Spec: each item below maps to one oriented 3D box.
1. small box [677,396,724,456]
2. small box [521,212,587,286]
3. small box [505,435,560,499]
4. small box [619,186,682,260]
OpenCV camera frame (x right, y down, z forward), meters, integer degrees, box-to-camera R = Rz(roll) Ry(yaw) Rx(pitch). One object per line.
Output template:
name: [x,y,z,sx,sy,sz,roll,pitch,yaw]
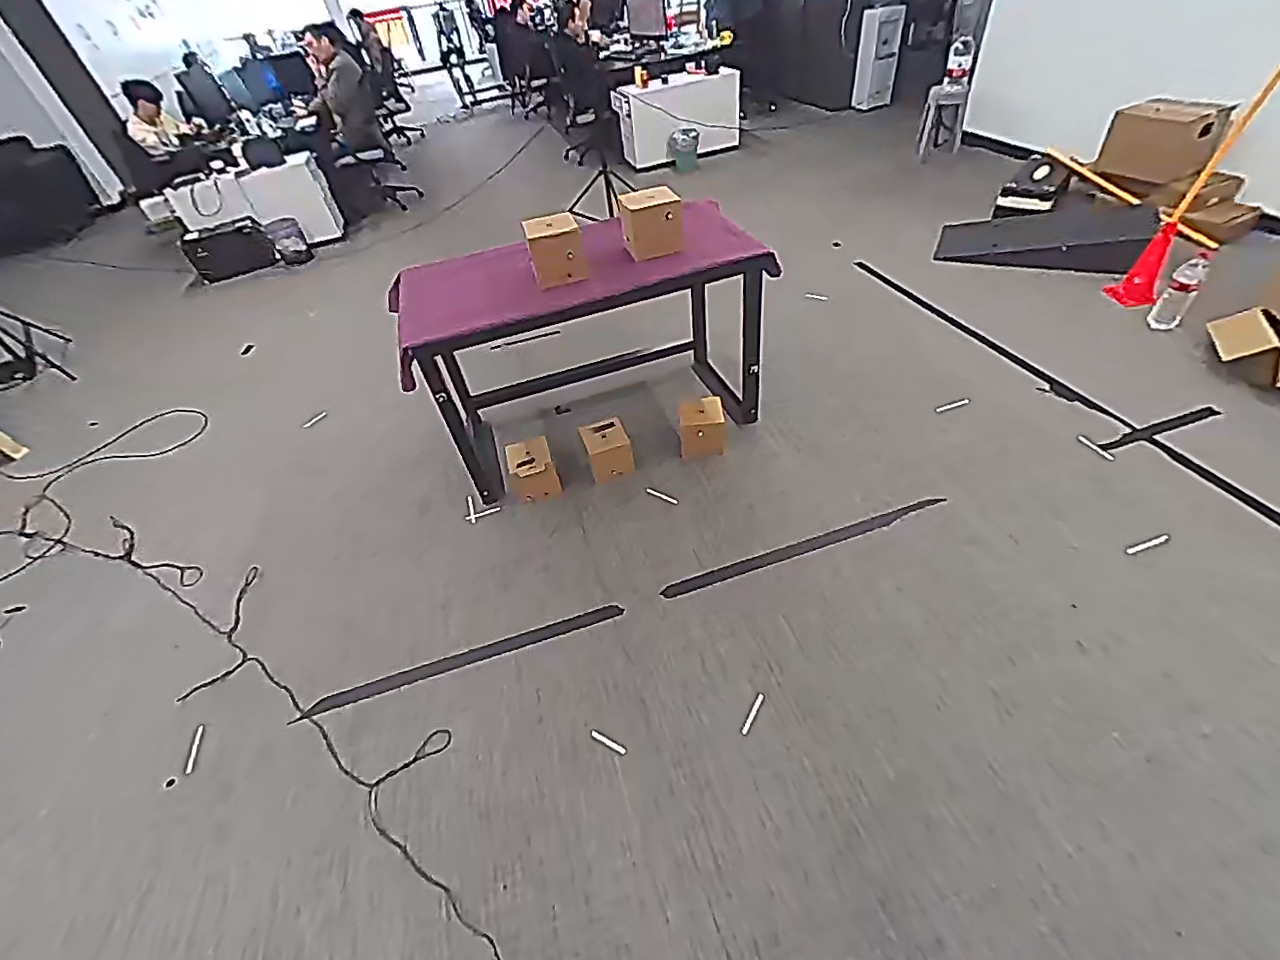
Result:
small box: [0.245,-0.218,2.195,0.179,0.176,0.168,-6,46,5]
small box: [-0.282,-0.757,1.782,0.168,0.176,0.179,-16,43,-8]
small box: [-0.421,-0.044,2.130,0.168,0.176,0.179,-17,44,-7]
small box: [0.038,-0.879,1.849,0.179,0.176,0.168,-16,44,-6]
